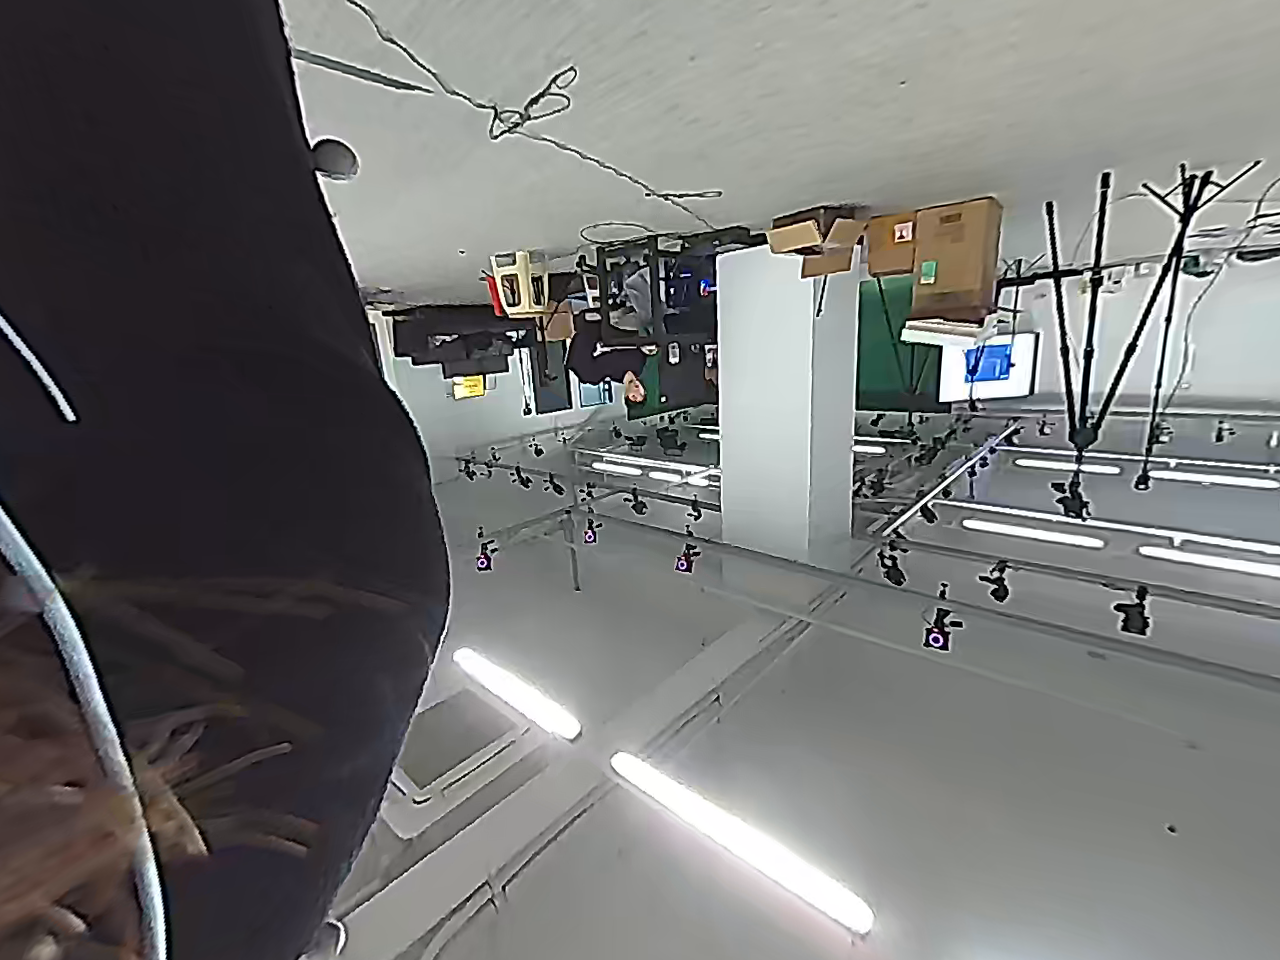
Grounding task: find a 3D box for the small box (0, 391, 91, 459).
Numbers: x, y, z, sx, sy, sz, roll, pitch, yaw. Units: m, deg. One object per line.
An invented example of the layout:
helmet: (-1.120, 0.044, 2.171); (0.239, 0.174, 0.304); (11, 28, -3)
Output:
small box: (-1.752, -0.165, 1.576); (0.179, 0.176, 0.168); (8, -161, 38)
